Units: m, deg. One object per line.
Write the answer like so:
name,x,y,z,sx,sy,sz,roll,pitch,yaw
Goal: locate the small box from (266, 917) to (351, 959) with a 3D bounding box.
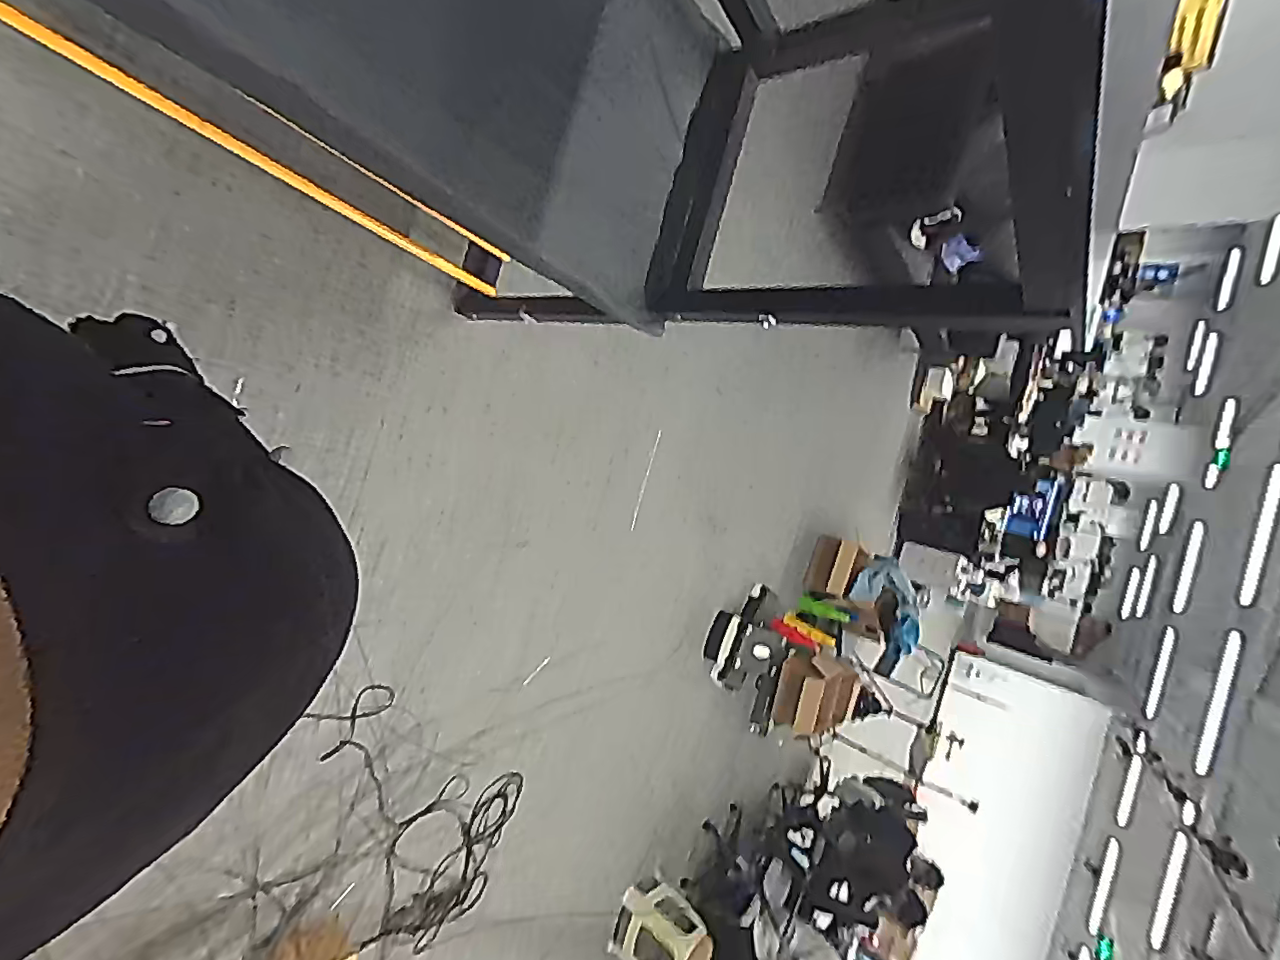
small box,-0.981,1.441,1.572,0.168,0.176,0.179,18,87,-51
